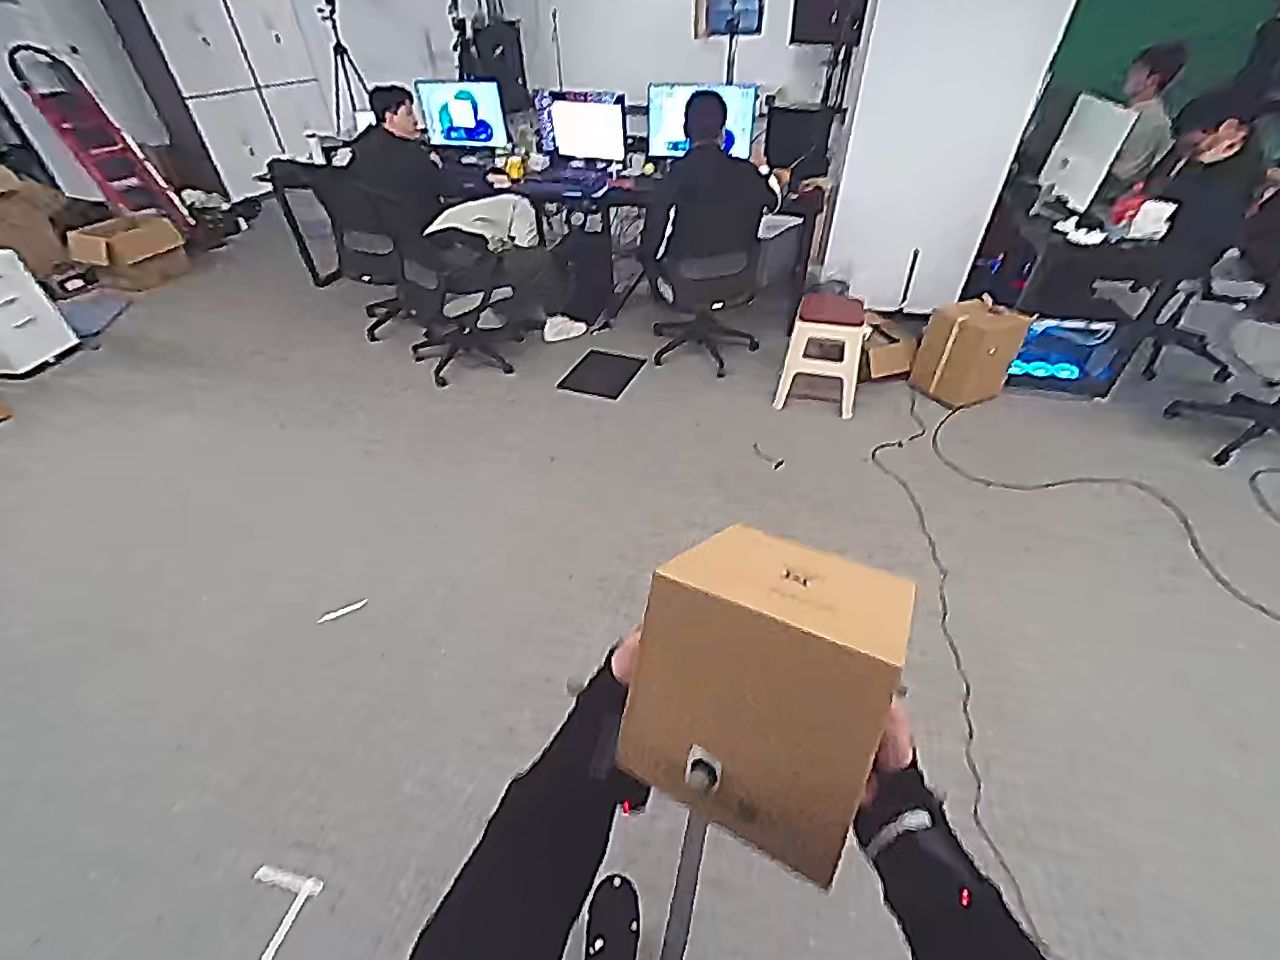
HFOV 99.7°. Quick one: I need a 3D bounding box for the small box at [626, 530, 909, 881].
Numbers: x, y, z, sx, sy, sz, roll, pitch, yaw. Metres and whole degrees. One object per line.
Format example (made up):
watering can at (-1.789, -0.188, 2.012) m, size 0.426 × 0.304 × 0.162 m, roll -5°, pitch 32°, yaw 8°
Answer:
small box at (0.104, 0.158, 0.440) m, size 0.168 × 0.176 × 0.179 m, roll 17°, pitch 14°, yaw 25°
